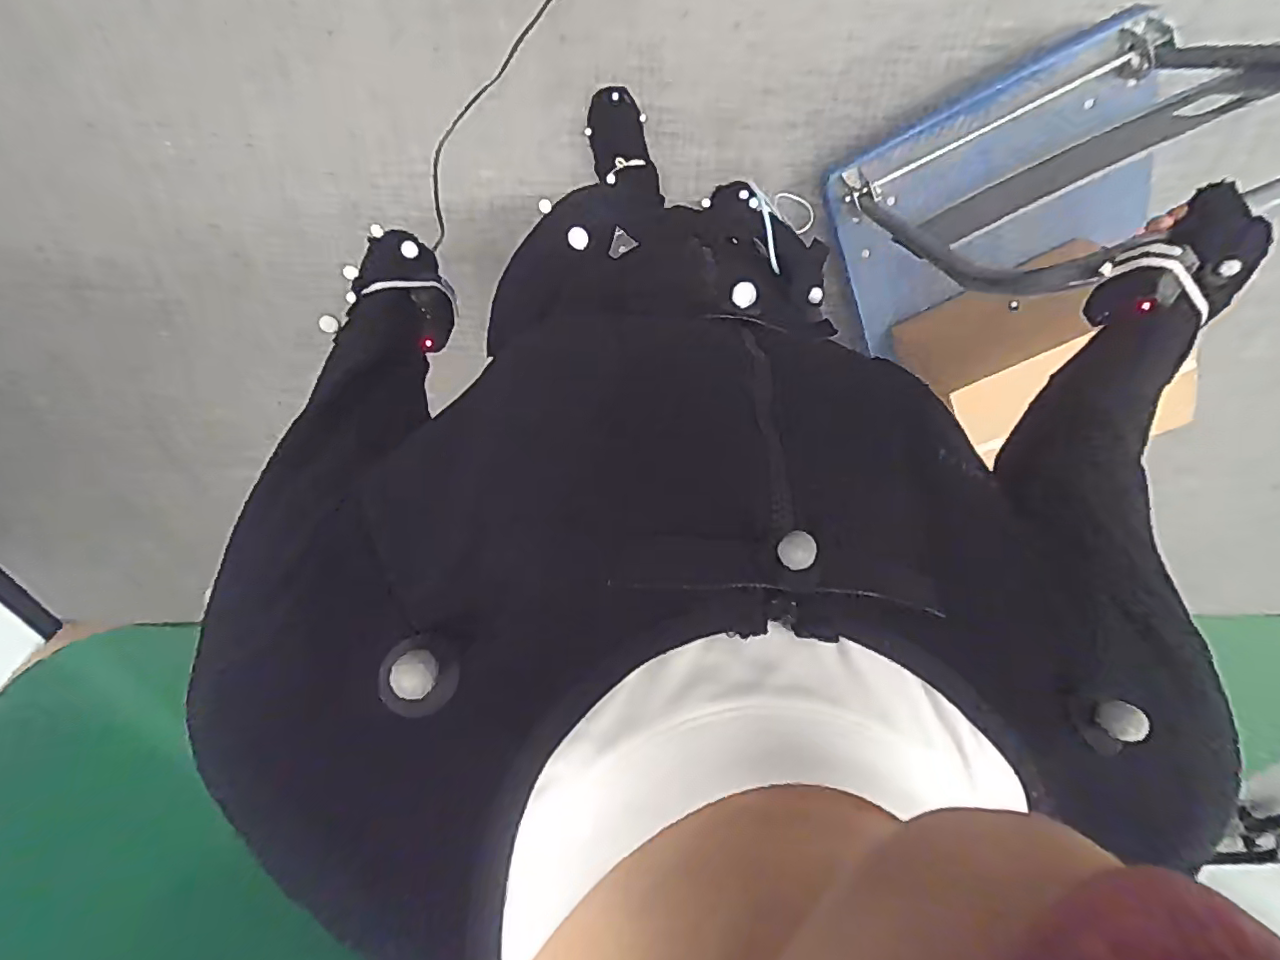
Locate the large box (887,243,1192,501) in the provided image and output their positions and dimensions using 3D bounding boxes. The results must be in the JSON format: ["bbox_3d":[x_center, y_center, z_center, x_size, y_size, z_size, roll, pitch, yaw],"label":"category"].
[{"bbox_3d":[0.816,-0.227,1.152,0.408,0.320,0.320,-26,125,17],"label":"large box"}]
